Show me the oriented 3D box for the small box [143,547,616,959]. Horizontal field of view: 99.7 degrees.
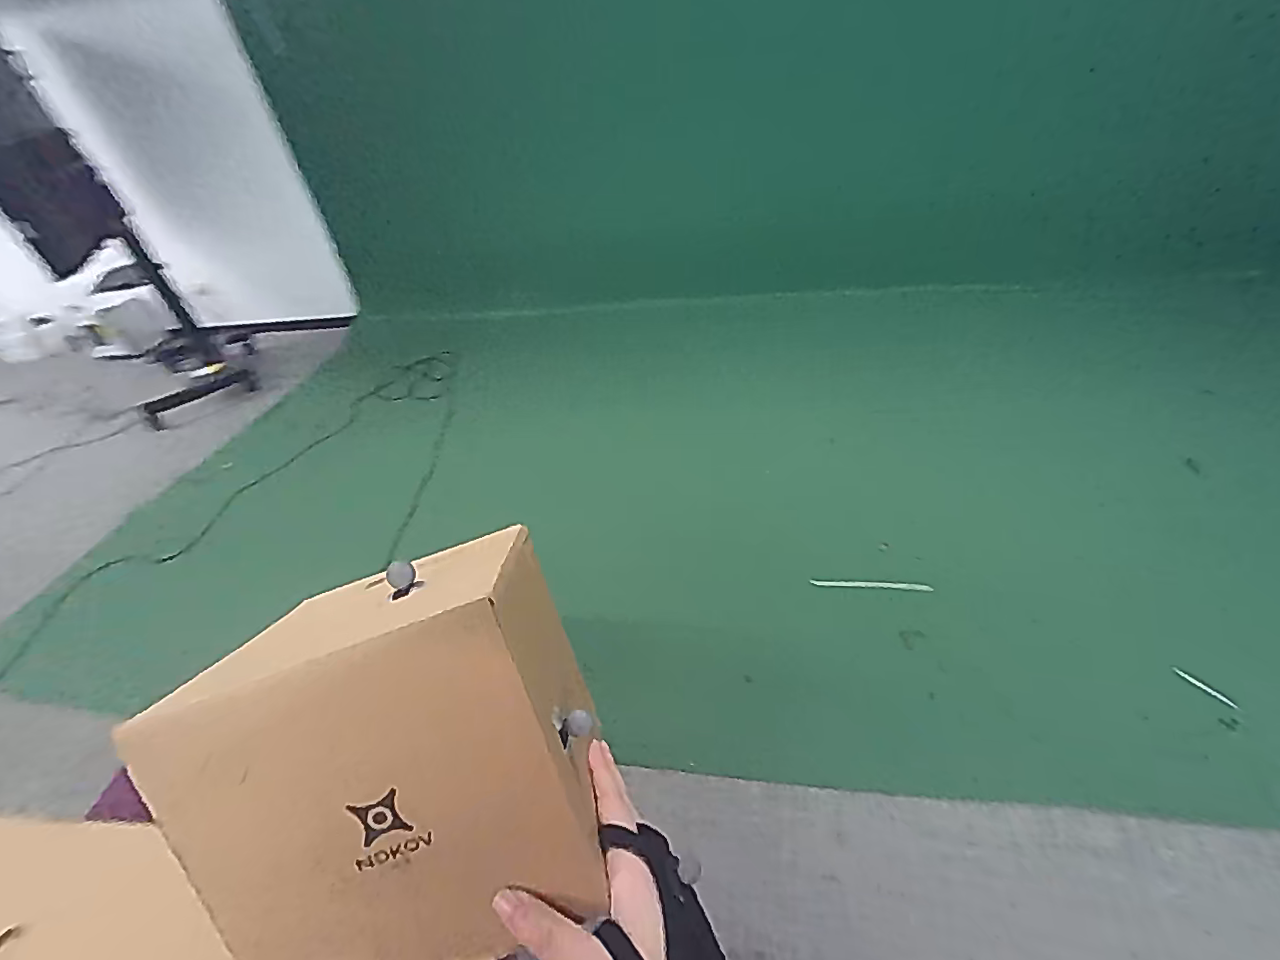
[{"bbox_3d":[-0.123,0.153,0.331,0.168,0.179,0.176,-19,10,-4],"label":"small box"}]
